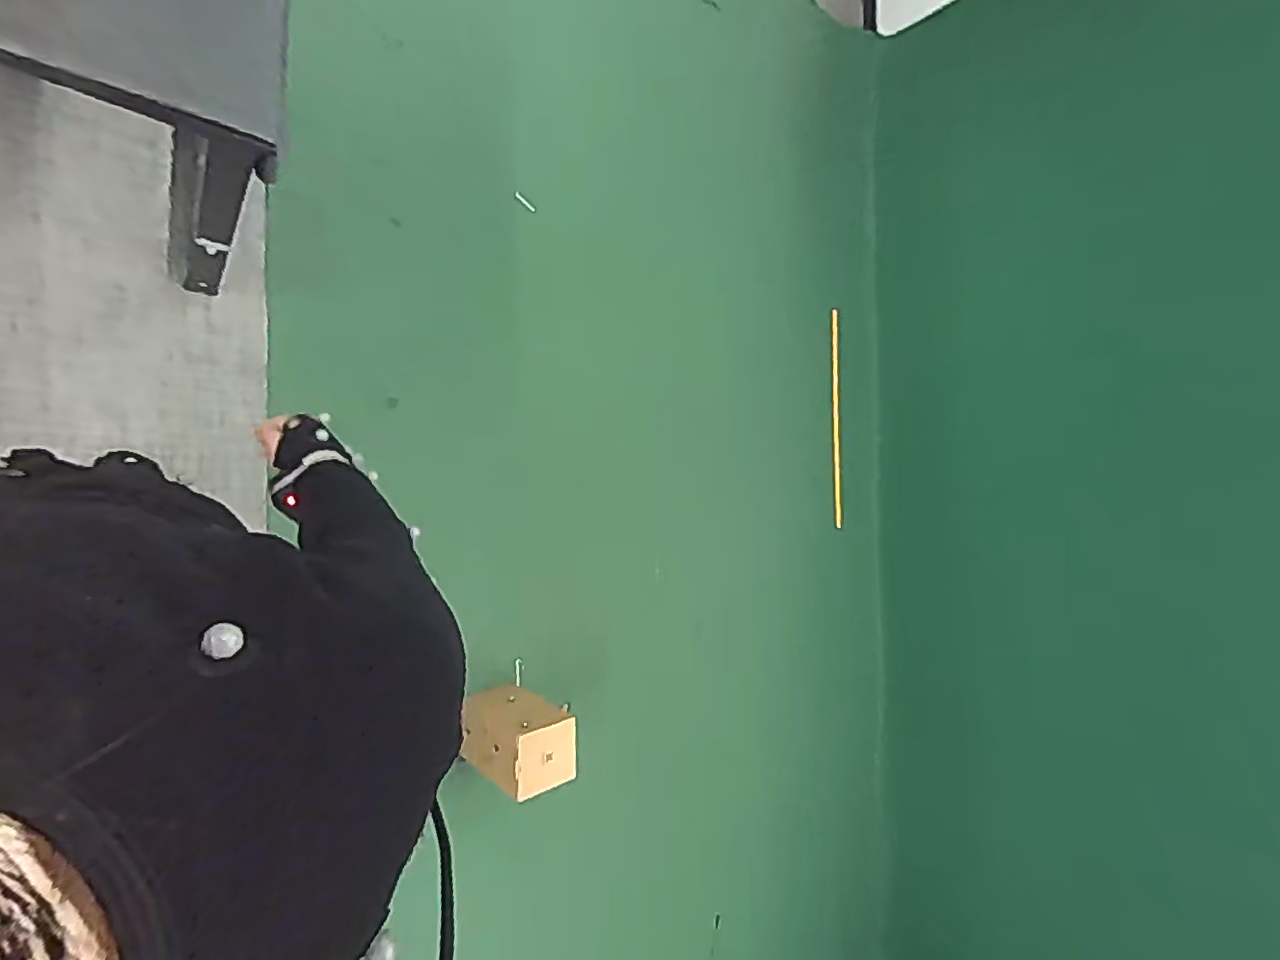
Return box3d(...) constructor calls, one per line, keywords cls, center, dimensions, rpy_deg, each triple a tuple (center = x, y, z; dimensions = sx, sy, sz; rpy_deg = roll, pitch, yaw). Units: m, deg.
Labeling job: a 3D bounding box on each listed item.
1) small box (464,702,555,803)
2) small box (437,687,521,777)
box3d(cls="small box", center=(-0.344, 0.709, 1.433), dimensions=(0.179, 0.176, 0.168), rpy_deg=(0, 89, -45))
box3d(cls="small box", center=(-0.460, 0.710, 1.547), dimensions=(0.179, 0.176, 0.168), rpy_deg=(2, 87, -44))
